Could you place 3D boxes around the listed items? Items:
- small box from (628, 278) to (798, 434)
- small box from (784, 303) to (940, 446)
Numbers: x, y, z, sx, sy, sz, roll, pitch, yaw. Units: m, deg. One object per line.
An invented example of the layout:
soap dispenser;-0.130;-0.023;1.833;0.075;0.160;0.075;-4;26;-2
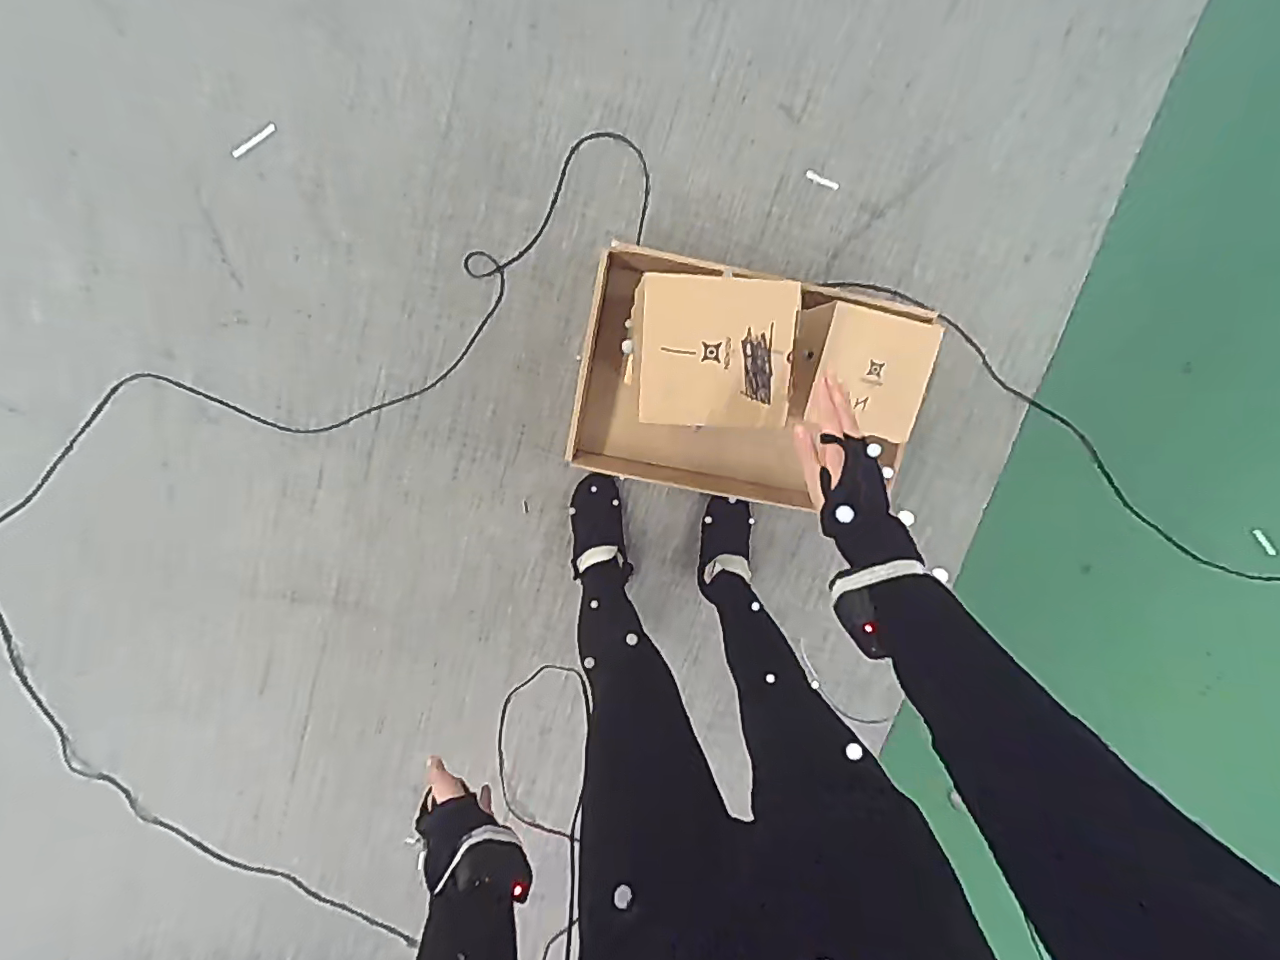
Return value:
small box;0.079;-0.154;0.685;0.179;0.176;0.168;2;102;-4
small box;0.329;-0.166;0.859;0.168;0.176;0.179;13;101;-4
